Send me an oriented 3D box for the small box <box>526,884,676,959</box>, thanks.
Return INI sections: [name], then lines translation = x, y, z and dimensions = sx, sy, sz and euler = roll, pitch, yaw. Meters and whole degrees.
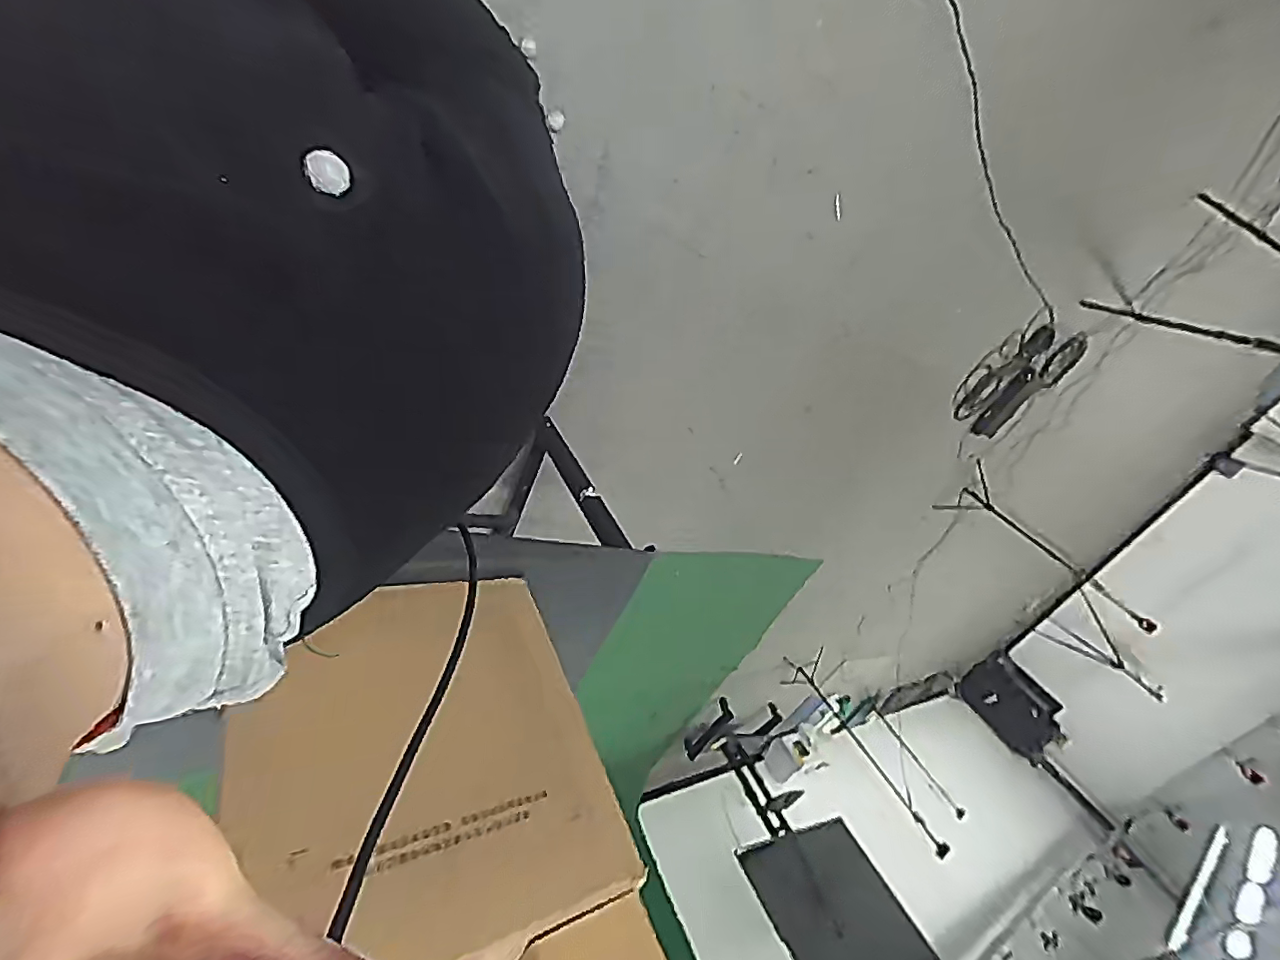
[small box]
translation = -0.051, 0.717, 0.759
dimensions = 0.179, 0.176, 0.168
euler = 1, 126, -38
